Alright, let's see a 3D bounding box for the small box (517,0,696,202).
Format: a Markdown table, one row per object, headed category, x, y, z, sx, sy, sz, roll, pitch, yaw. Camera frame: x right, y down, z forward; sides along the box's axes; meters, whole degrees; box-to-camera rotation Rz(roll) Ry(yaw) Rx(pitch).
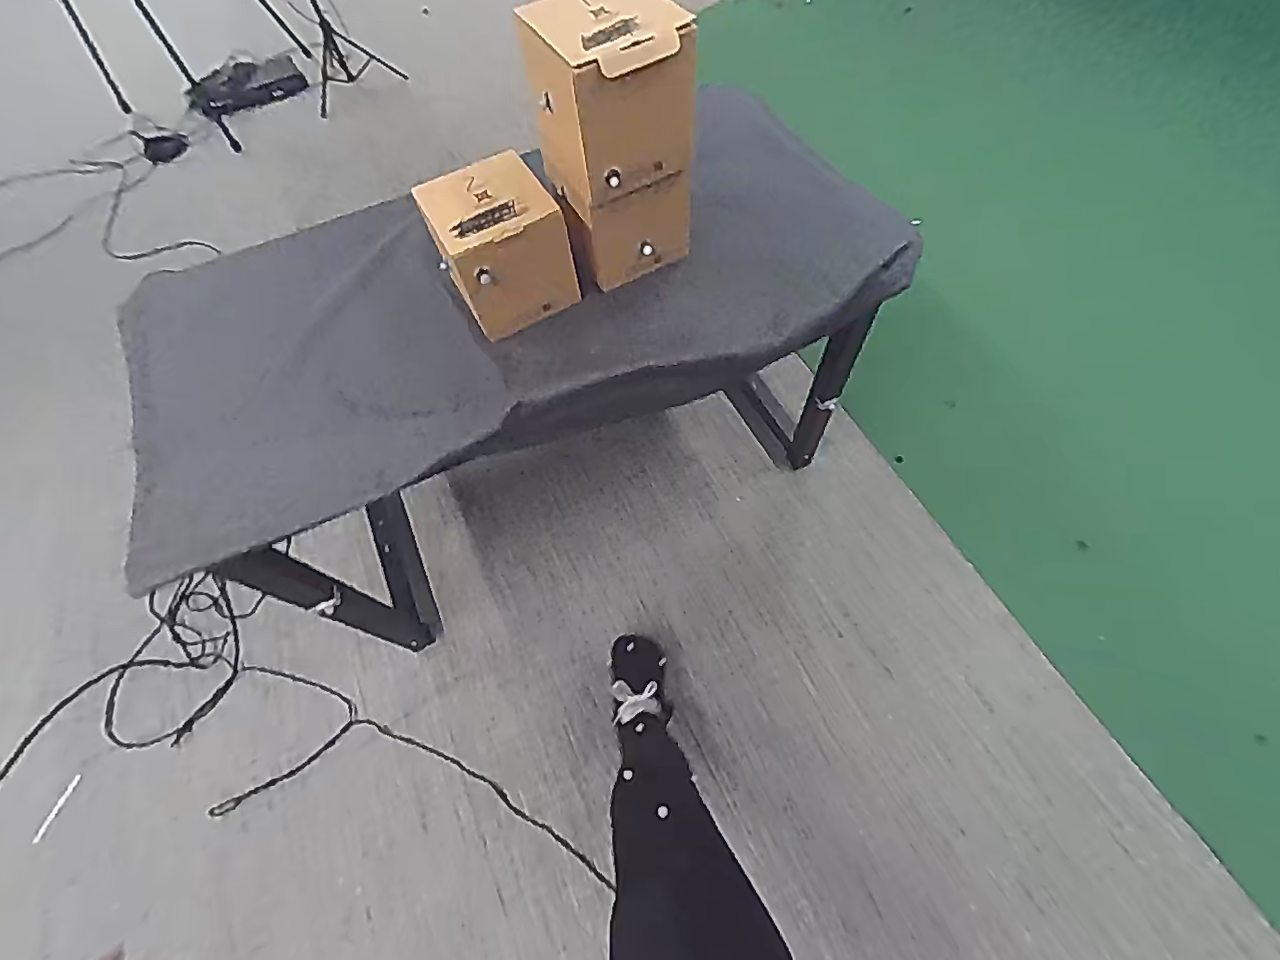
| category | x | y | z | sx | sy | sz | roll | pitch | yaw |
| --- | --- | --- | --- | --- | --- | --- | --- | --- | --- |
| small box | -0.037 | -0.503 | 0.721 | 0.168 | 0.176 | 0.179 | -28 | 63 | -10 |
